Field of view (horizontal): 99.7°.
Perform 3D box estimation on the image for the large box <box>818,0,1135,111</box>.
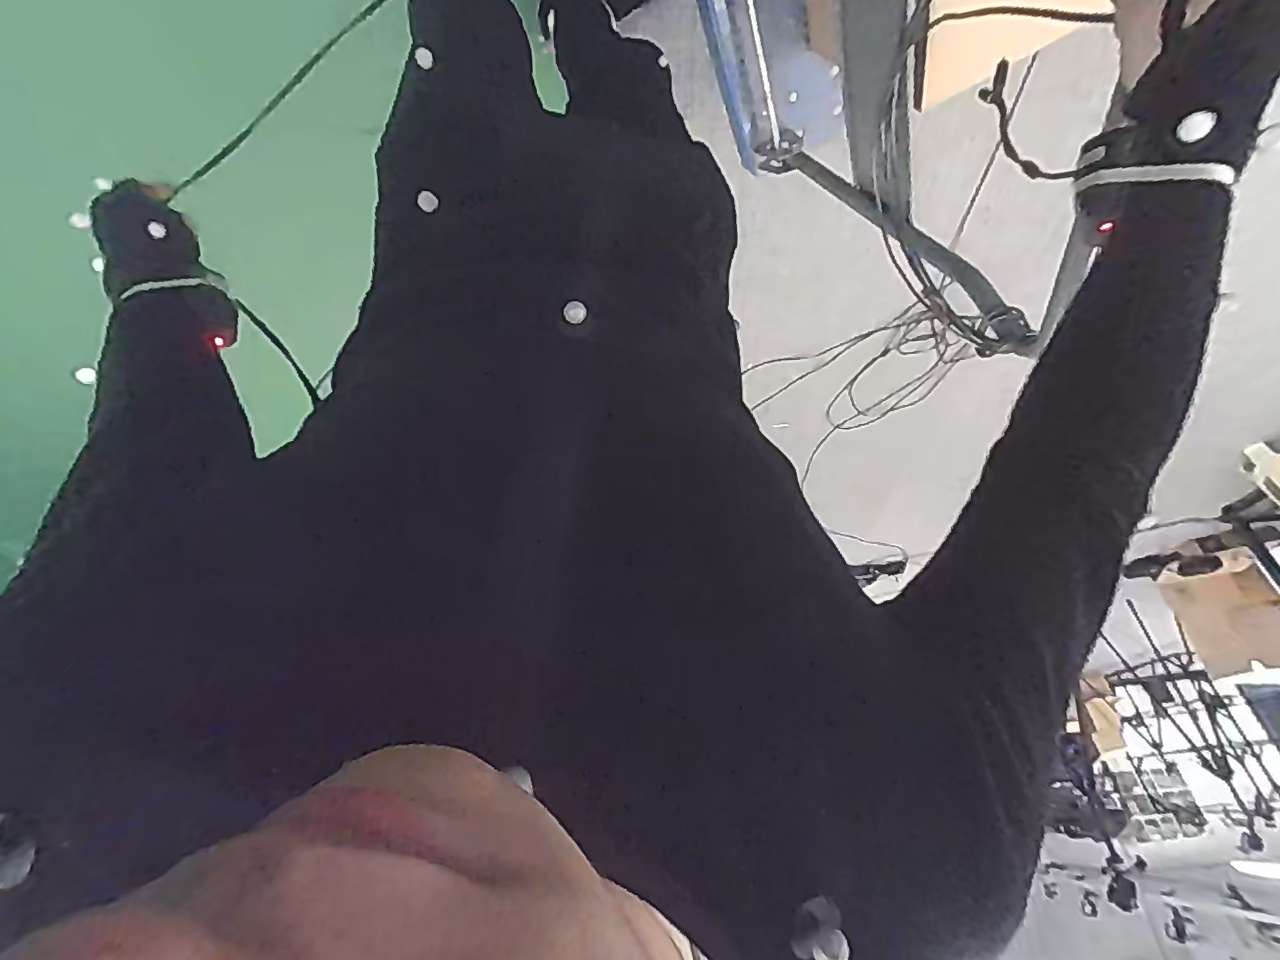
[{"bbox_3d":[0.470,-0.772,0.682,0.408,0.320,0.320,-27,144,6],"label":"large box"}]
